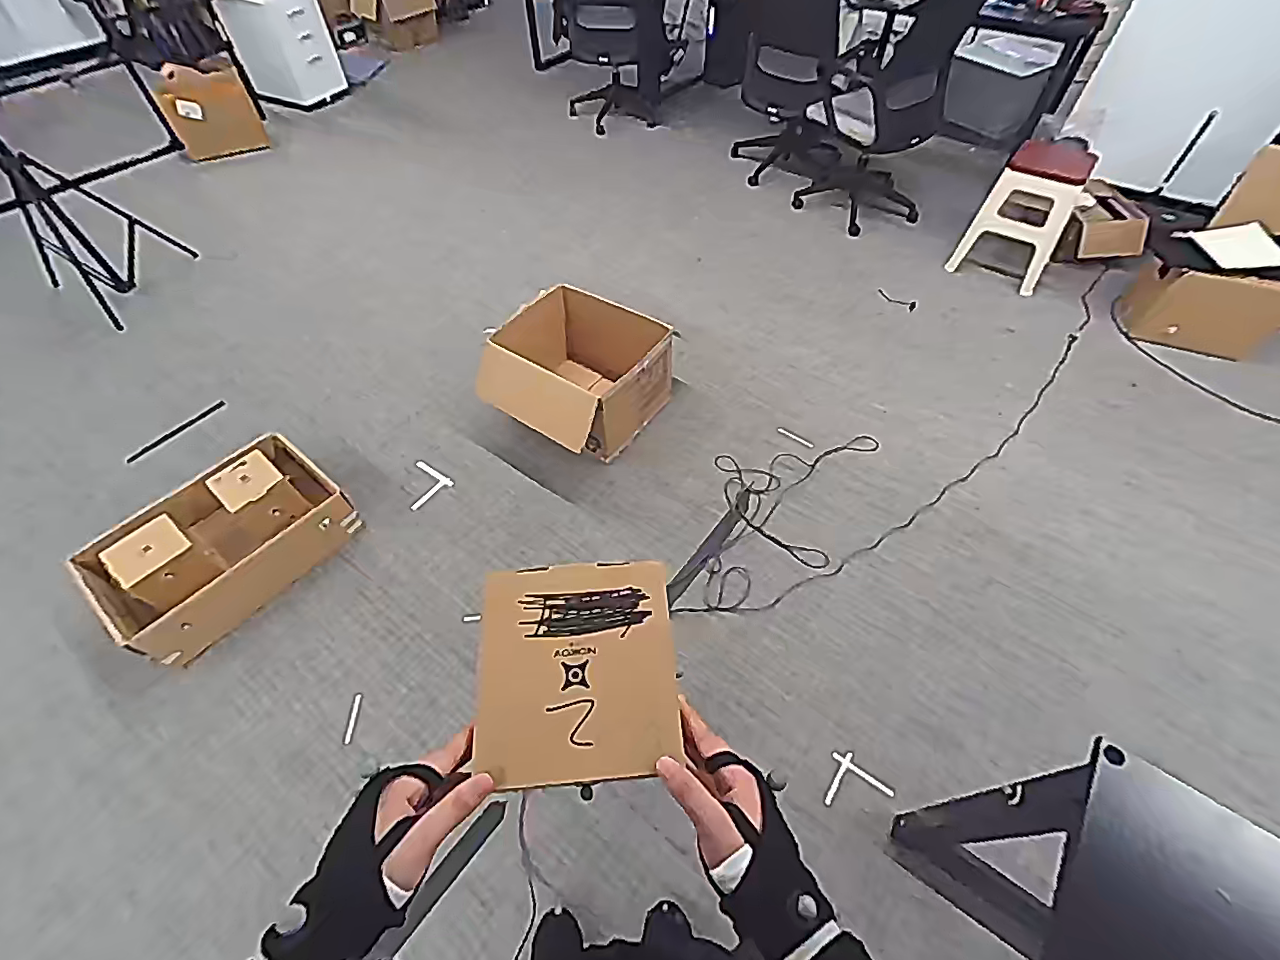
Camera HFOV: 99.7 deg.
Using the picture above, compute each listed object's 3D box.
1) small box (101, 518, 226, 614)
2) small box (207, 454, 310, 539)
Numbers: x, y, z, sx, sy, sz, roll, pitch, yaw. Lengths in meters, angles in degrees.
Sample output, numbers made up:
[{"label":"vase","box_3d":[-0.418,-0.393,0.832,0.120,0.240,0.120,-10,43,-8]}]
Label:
[{"label":"small box","box_3d":[-1.342,0.248,1.534,0.168,0.176,0.179,33,58,20]},{"label":"small box","box_3d":[-1.172,0.059,1.673,0.179,0.176,0.168,35,62,22]}]
